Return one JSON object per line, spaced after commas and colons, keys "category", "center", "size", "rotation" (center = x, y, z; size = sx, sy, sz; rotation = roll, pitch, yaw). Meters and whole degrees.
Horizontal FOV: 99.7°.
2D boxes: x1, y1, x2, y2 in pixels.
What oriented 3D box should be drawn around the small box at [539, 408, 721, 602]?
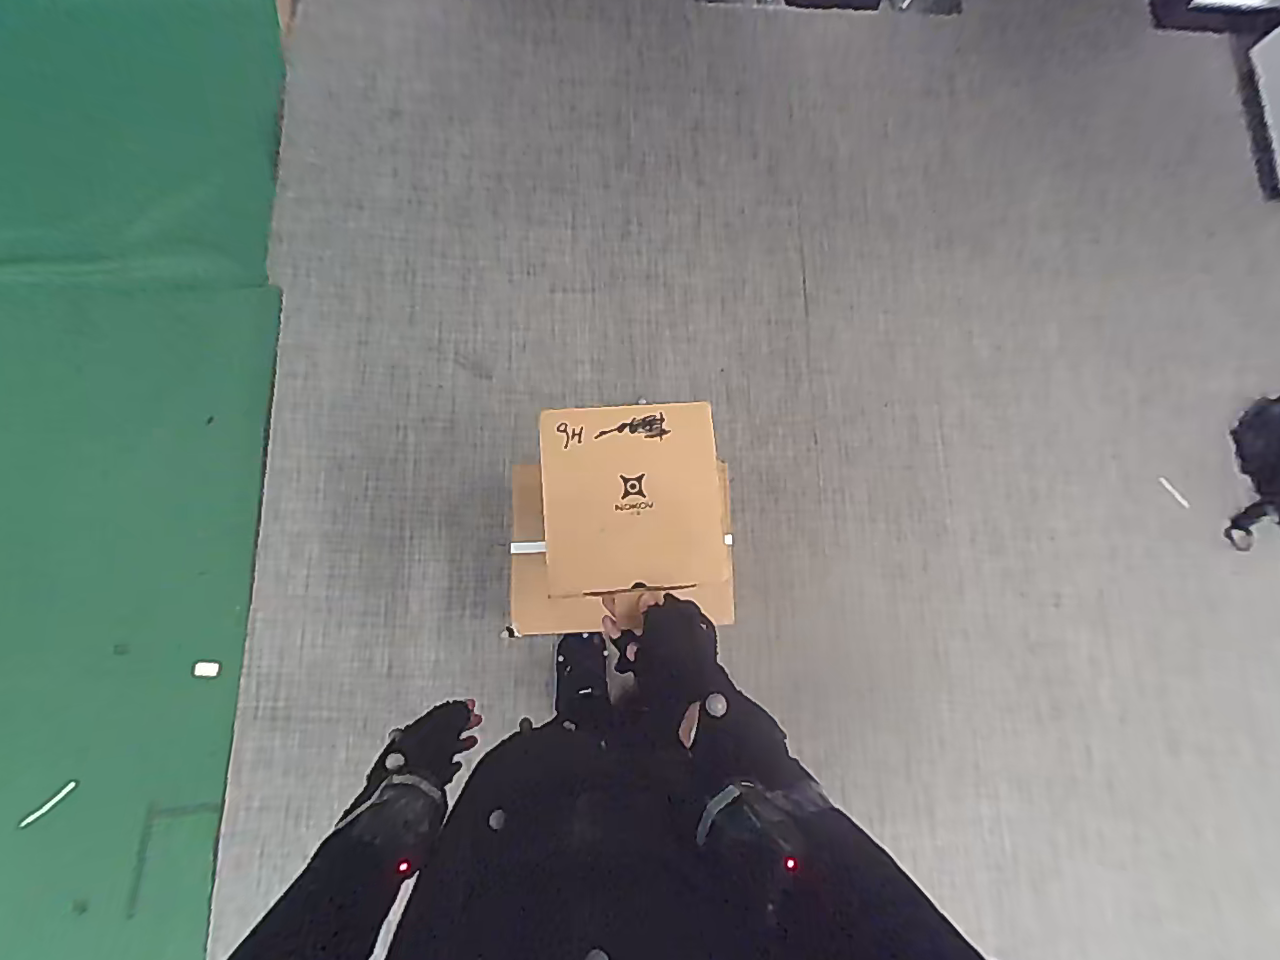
{"category": "small box", "center": [-0.015, 0.031, 0.585], "size": [0.168, 0.176, 0.179], "rotation": [-4, 82, -5]}
